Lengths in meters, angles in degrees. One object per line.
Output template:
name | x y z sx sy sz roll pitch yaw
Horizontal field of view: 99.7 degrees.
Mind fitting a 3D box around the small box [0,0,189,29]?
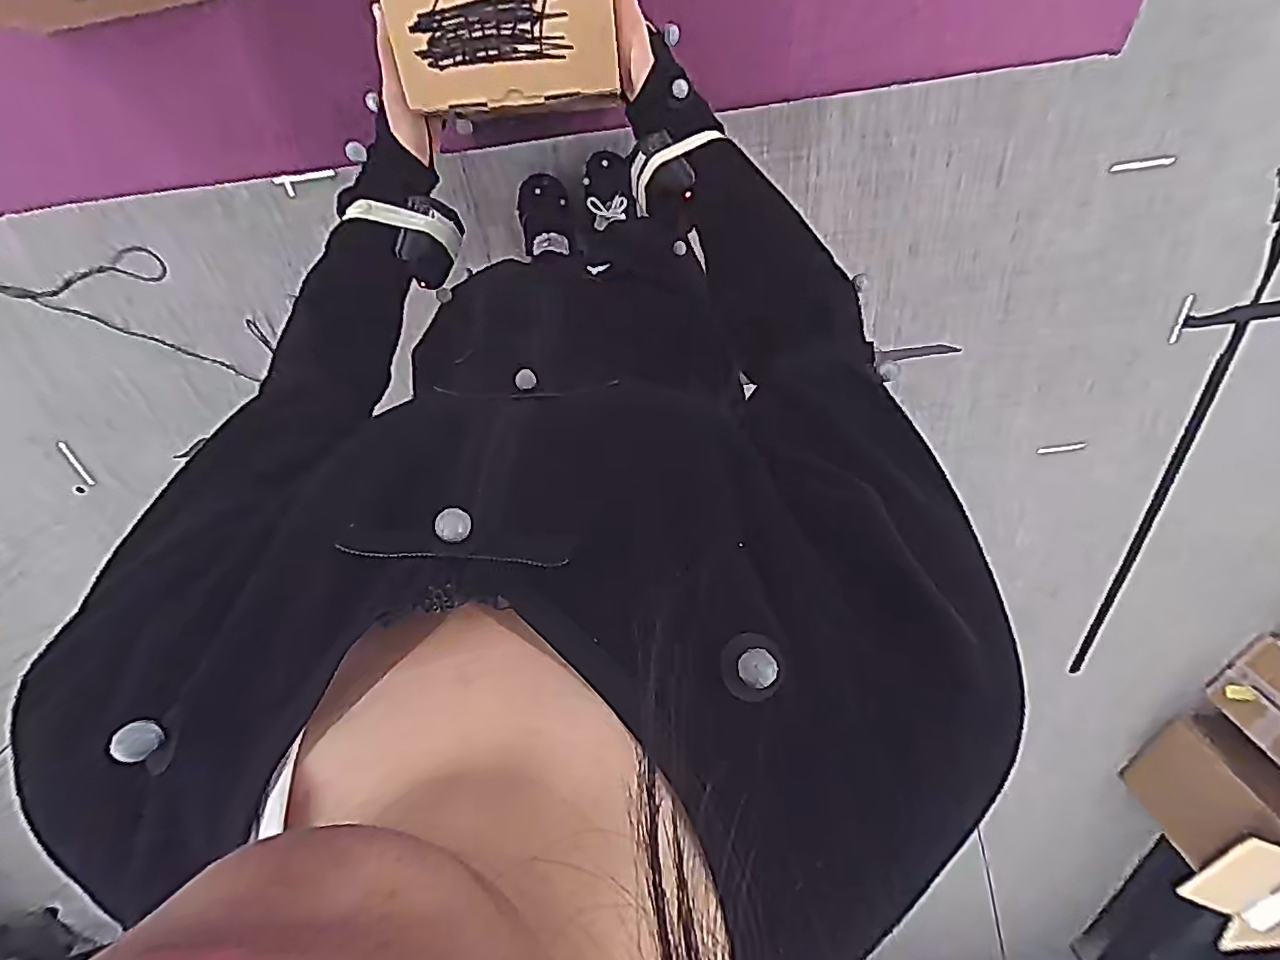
small box | -0.469 -0.449 0.379 0.179 0.176 0.168 -10 121 1
